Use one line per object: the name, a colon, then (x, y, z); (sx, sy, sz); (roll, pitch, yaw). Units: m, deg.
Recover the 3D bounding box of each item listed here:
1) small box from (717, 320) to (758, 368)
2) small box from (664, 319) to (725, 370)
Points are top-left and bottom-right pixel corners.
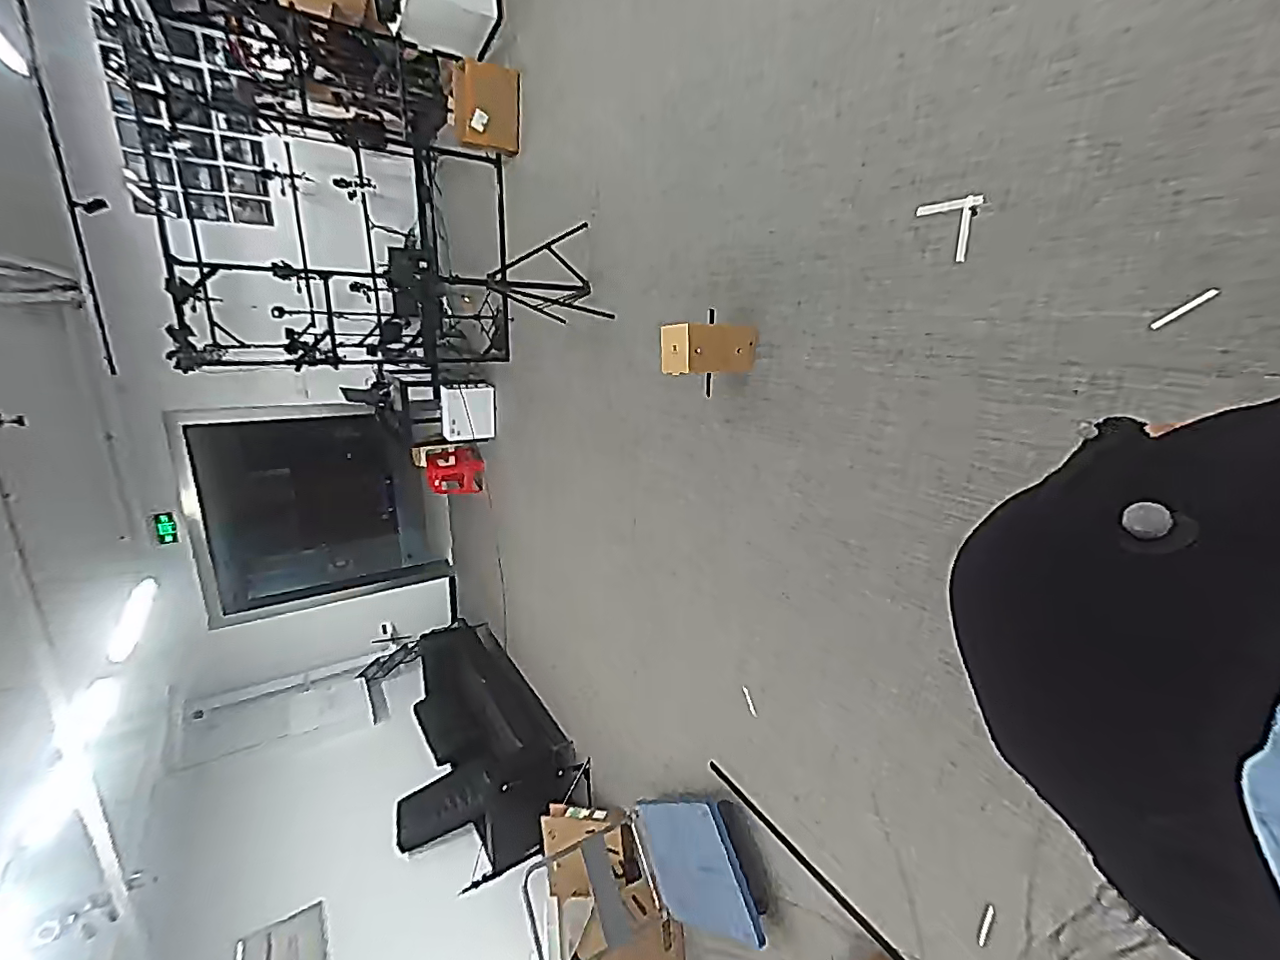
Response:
small box: (0.335, -0.530, 2.095); (0.179, 0.176, 0.168); (30, 122, 52)
small box: (0.204, -0.500, 2.004); (0.168, 0.176, 0.179); (16, 112, 55)
